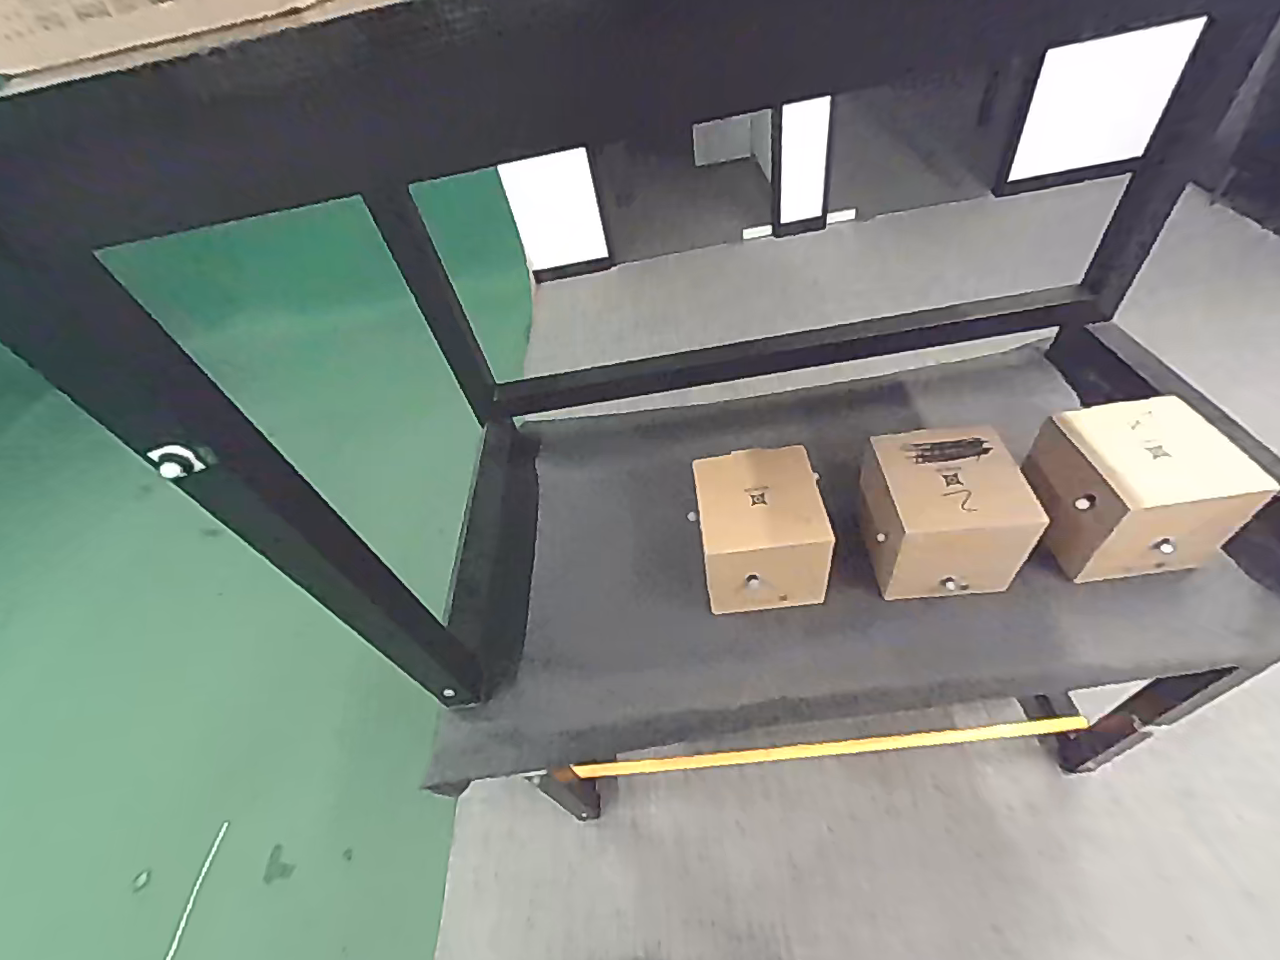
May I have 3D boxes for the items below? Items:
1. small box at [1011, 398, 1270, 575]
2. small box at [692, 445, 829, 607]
[{"bbox_3d":[0.661,0.016,0.746,0.168,0.176,0.179,-9,46,5],"label":"small box"},{"bbox_3d":[0.174,0.076,0.808,0.168,0.176,0.179,-8,47,6],"label":"small box"}]
